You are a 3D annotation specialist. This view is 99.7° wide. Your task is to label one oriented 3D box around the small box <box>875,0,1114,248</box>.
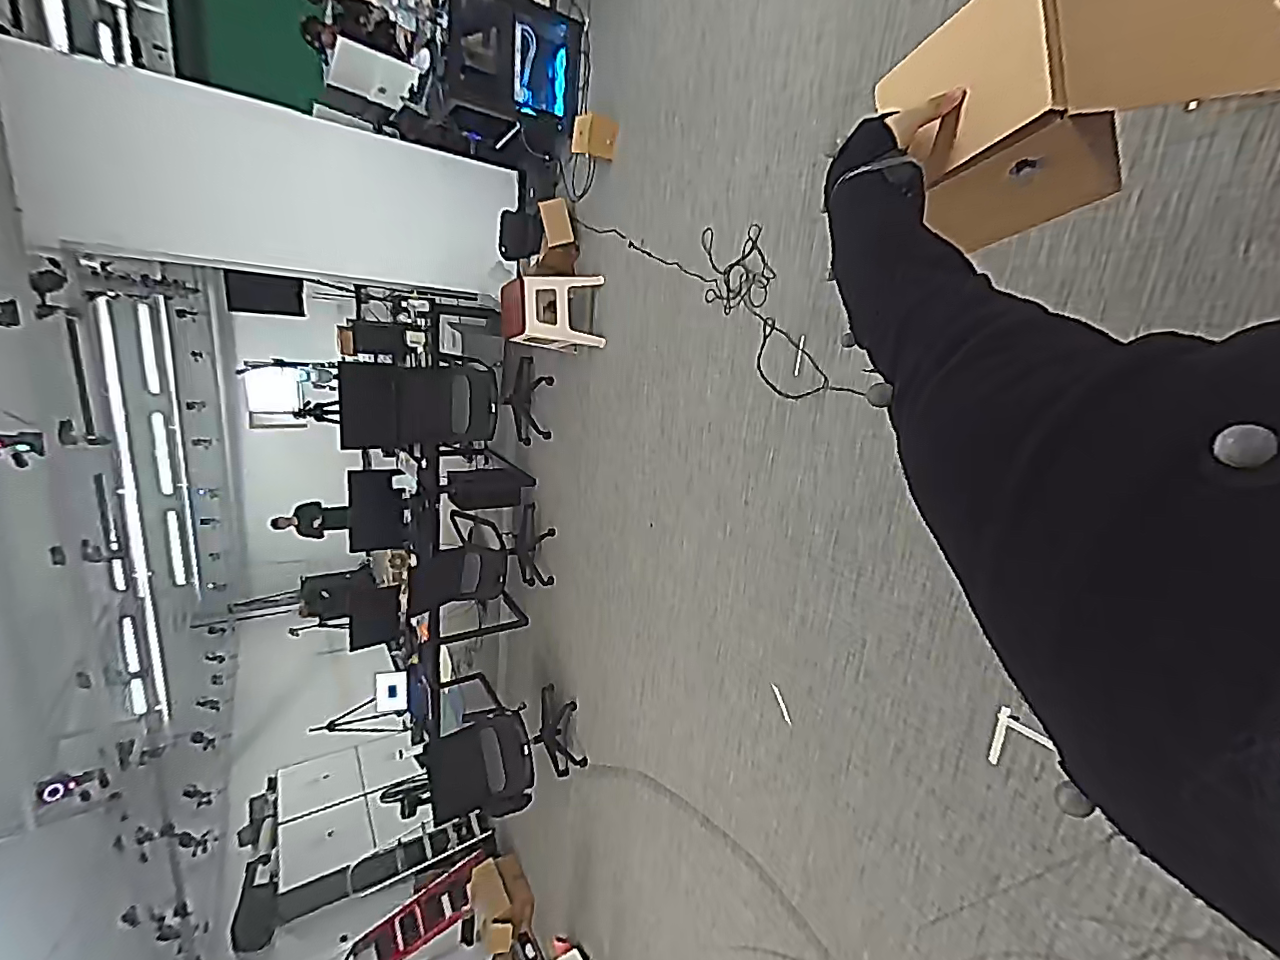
[{"bbox_3d":[0.387,-0.388,0.594,0.179,0.176,0.168,-9,77,55],"label":"small box"}]
